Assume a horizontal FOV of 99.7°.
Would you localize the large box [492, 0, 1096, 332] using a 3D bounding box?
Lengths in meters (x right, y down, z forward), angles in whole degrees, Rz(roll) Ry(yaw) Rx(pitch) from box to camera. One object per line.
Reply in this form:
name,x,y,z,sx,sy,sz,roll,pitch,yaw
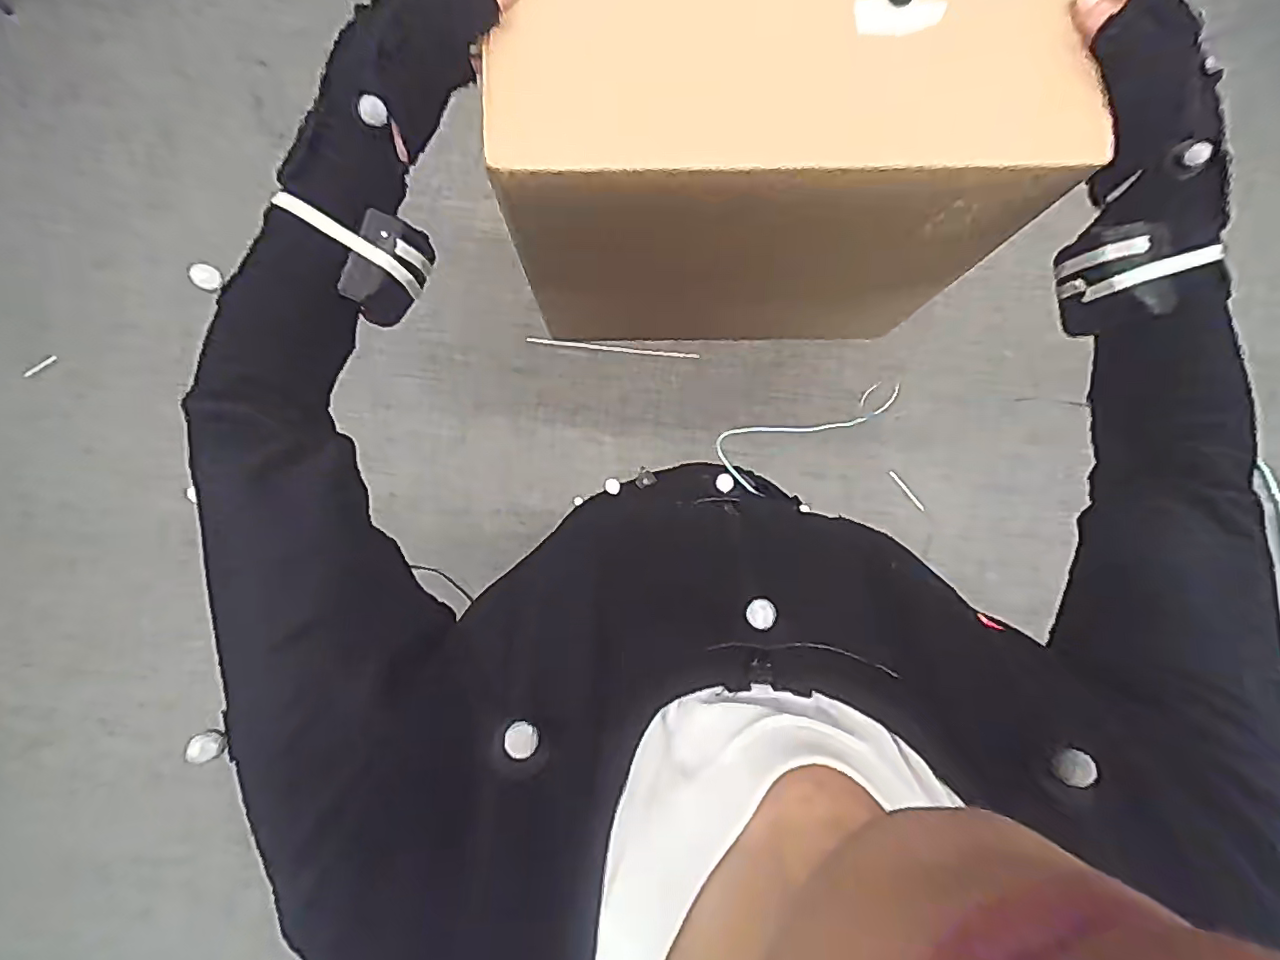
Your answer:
large box,0.092,-0.347,0.512,0.408,0.320,0.320,-1,84,-2
